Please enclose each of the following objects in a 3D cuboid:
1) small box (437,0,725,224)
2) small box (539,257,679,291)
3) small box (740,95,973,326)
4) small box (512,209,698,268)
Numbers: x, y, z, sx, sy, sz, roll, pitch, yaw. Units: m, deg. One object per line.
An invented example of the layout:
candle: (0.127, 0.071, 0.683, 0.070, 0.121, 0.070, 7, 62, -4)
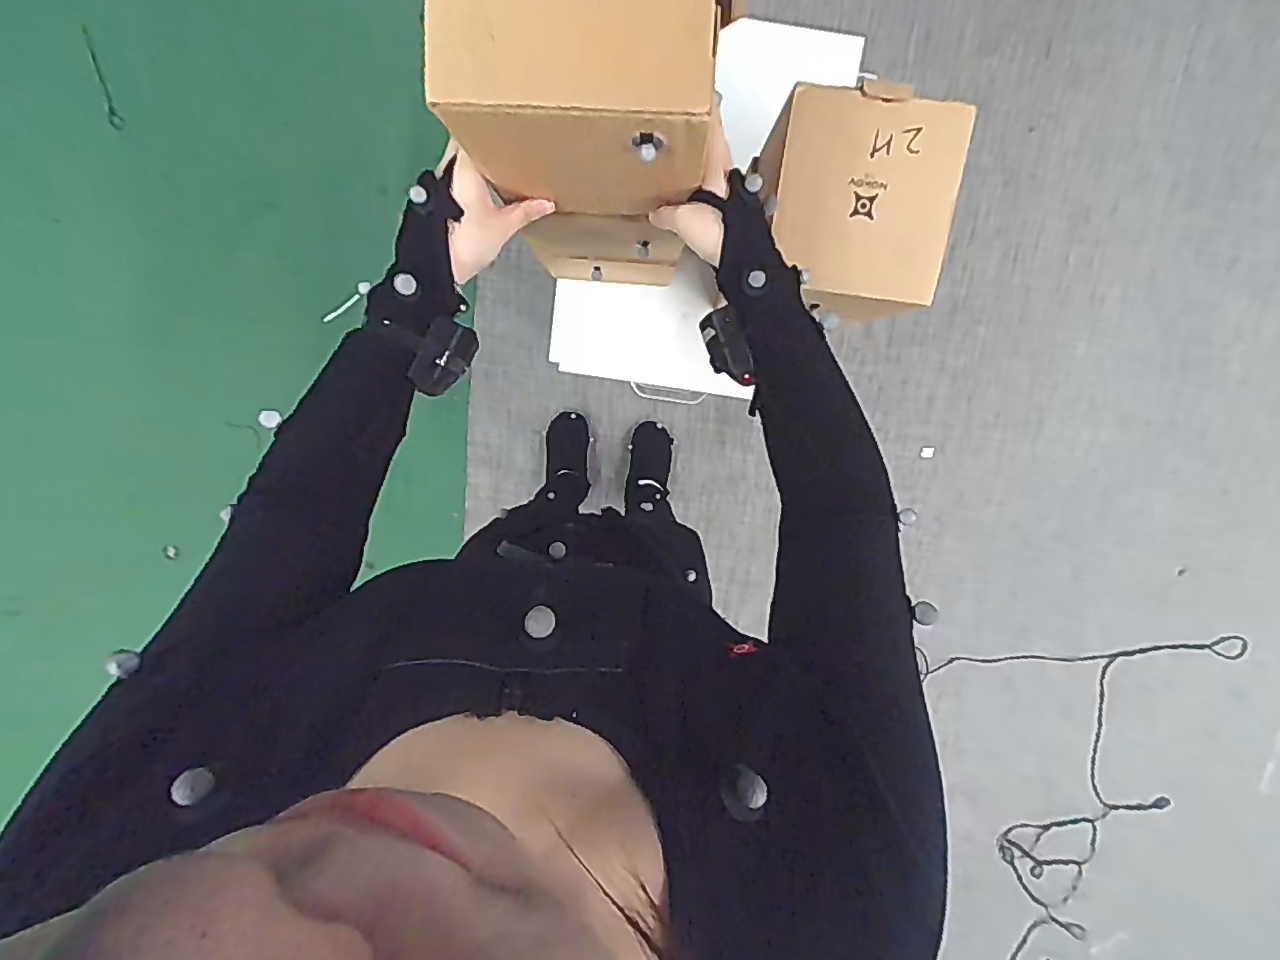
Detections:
small box: (-0.033, -0.306, 0.403, 0.179, 0.176, 0.168, 3, 97, 1)
small box: (-0.035, -0.358, 0.734, 0.179, 0.176, 0.168, 3, 102, -3)
small box: (0.211, -0.269, 0.584, 0.168, 0.176, 0.179, 8, 102, -1)
small box: (-0.032, -0.328, 0.573, 0.179, 0.176, 0.168, 2, 100, -1)
